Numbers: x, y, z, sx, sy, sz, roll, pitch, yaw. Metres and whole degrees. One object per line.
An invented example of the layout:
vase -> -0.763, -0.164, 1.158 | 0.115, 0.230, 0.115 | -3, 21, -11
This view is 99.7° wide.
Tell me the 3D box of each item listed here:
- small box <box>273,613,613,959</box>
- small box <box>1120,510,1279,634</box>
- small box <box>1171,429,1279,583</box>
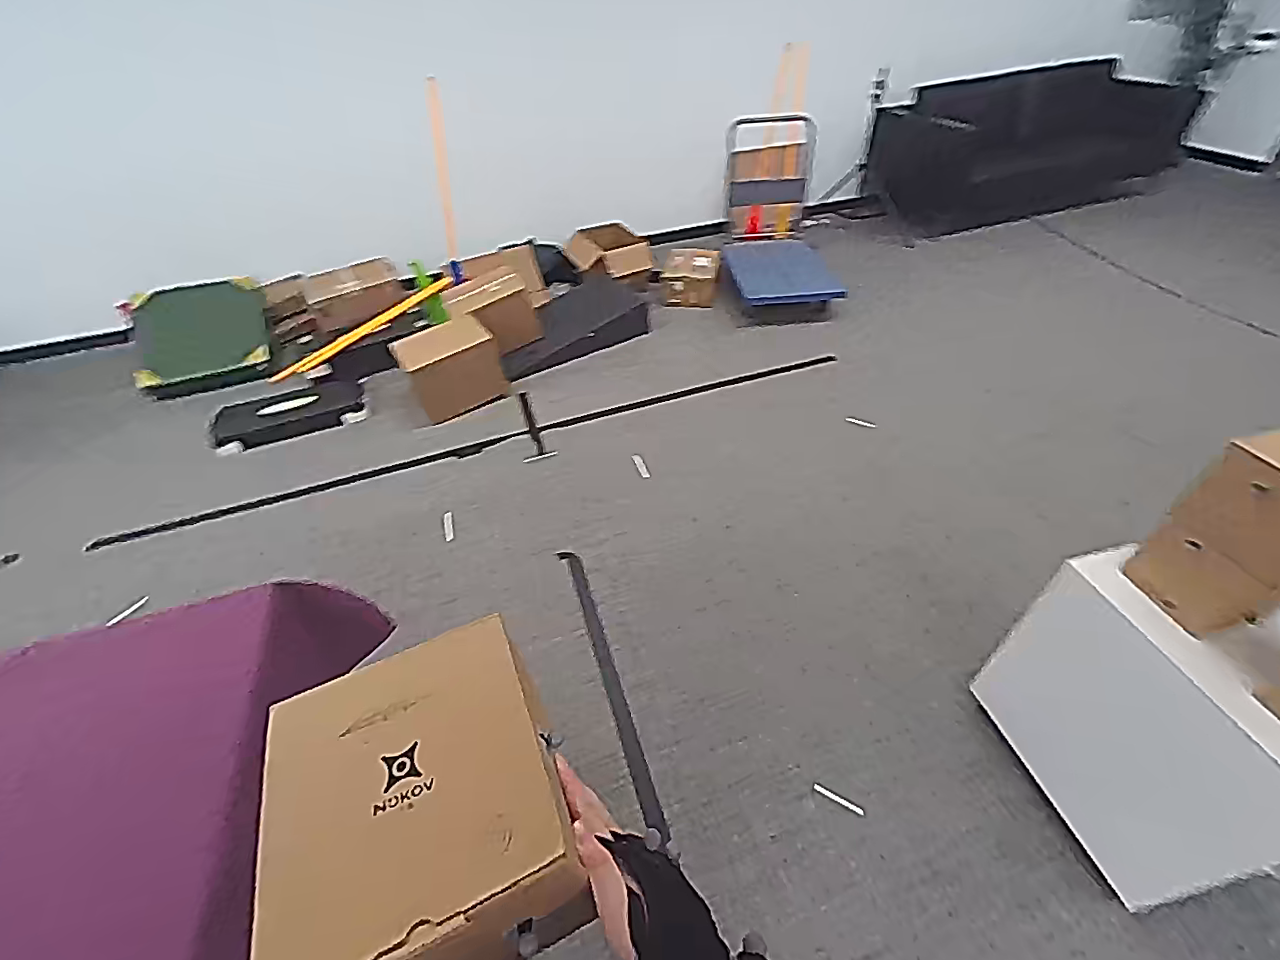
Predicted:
small box -> -0.128, 0.236, 0.392 | 0.168, 0.176, 0.179 | -19, 44, -12
small box -> 1.052, 0.156, 0.987 | 0.179, 0.176, 0.168 | -10, 43, -8
small box -> 1.041, 0.037, 0.873 | 0.168, 0.176, 0.179 | -11, 44, -7
